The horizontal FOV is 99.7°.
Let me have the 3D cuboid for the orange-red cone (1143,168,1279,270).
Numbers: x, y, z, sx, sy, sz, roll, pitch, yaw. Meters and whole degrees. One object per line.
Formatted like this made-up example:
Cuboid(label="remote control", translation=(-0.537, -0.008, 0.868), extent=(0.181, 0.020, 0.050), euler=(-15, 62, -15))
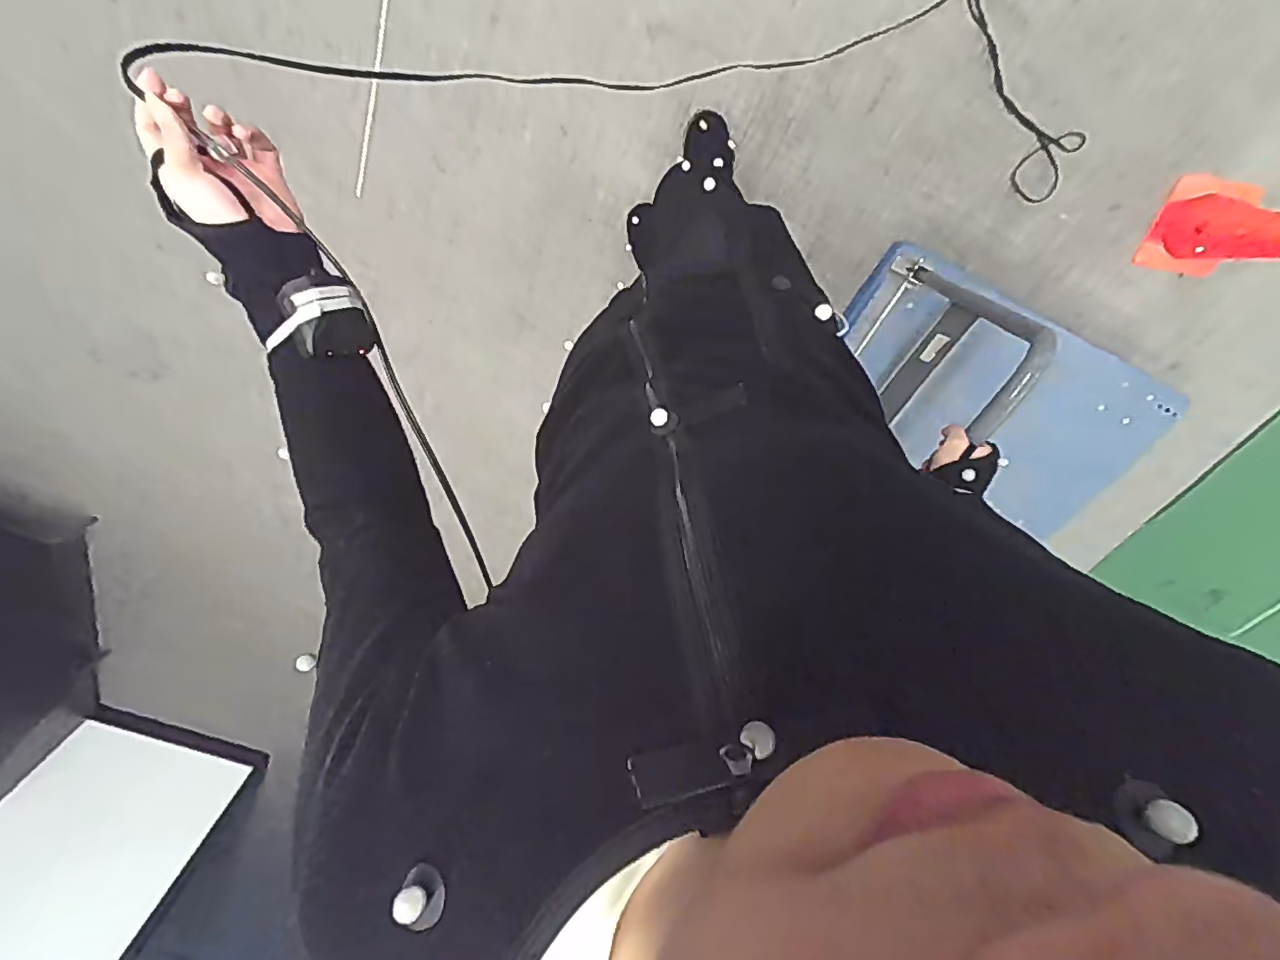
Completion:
Cuboid(label="orange-red cone", translation=(1.324, -0.528, 1.134), extent=(0.198, 0.360, 0.199), euler=(10, 120, -2))
